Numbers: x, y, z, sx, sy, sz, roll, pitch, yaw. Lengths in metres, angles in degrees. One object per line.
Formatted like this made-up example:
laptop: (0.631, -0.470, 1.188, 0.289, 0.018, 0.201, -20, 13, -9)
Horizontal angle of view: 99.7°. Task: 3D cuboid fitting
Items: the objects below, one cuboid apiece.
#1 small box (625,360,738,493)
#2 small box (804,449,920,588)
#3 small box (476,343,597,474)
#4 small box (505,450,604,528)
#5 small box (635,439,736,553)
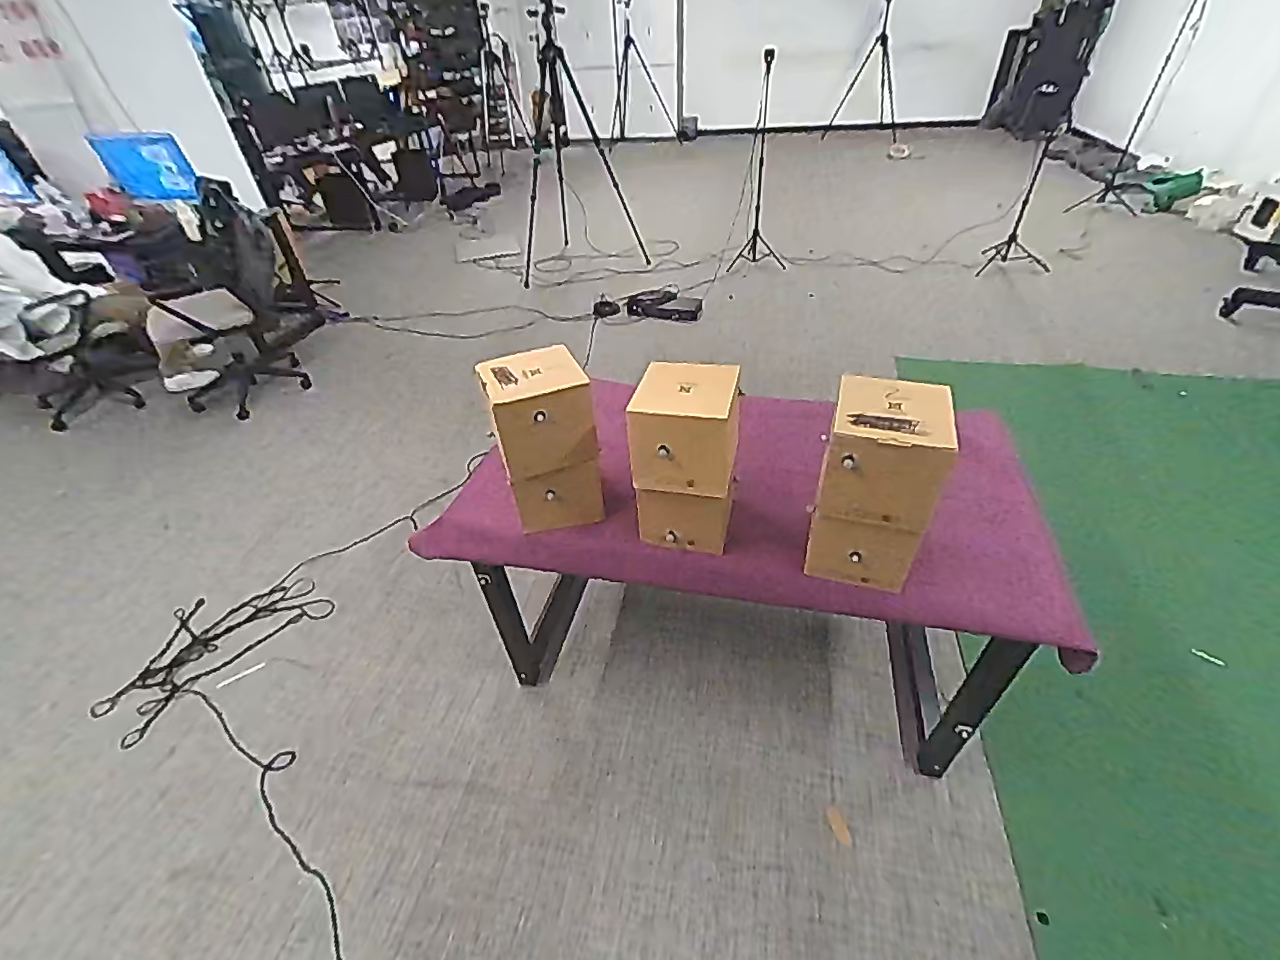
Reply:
small box: (0.081, -0.096, 0.960, 0.168, 0.176, 0.179, 6, 40, 14)
small box: (0.400, 0.070, 0.987, 0.168, 0.176, 0.179, 11, 43, 16)
small box: (-0.192, -0.134, 1.022, 0.179, 0.176, 0.168, -16, 42, -16)
small box: (-0.178, -0.018, 1.139, 0.179, 0.176, 0.168, -10, 41, -6)
small box: (0.093, 0.018, 1.077, 0.168, 0.176, 0.179, 7, 41, 14)
